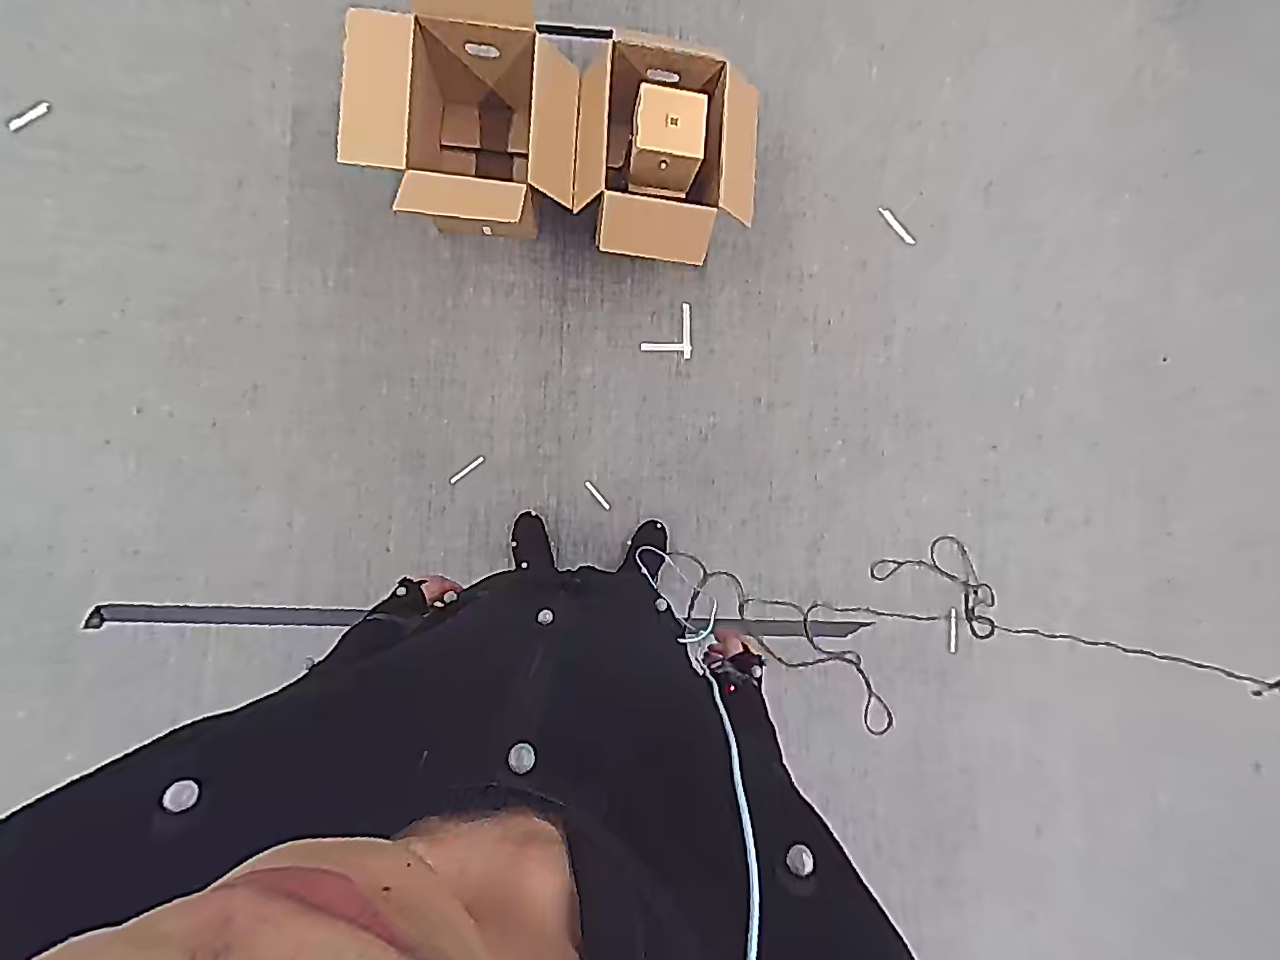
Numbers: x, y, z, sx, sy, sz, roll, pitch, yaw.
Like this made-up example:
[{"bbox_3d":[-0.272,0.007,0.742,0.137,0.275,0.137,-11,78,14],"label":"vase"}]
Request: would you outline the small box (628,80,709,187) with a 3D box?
[{"bbox_3d":[0.071,-0.902,1.425,0.179,0.176,0.168,4,90,-8],"label":"small box"}]
